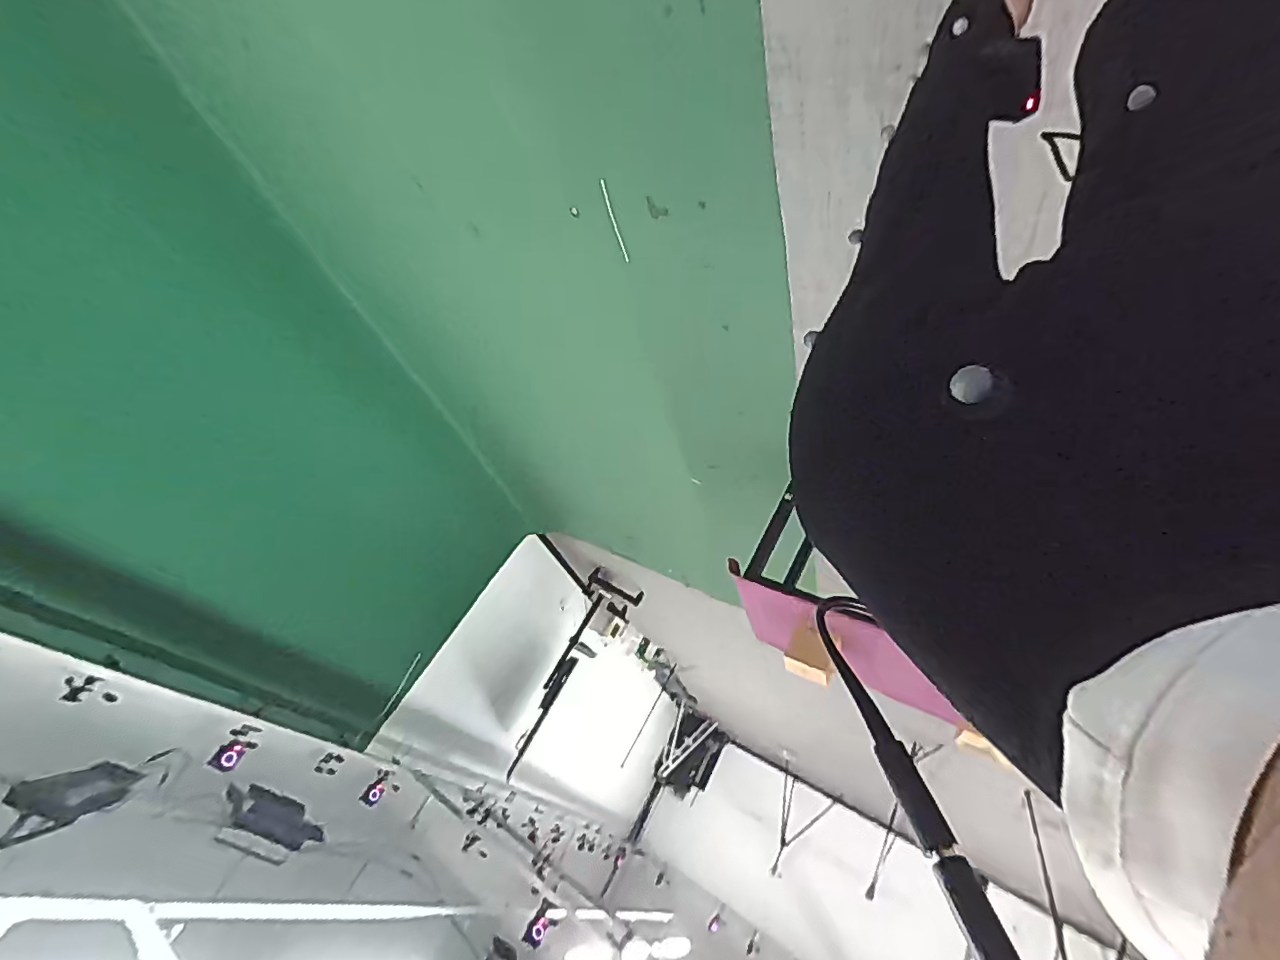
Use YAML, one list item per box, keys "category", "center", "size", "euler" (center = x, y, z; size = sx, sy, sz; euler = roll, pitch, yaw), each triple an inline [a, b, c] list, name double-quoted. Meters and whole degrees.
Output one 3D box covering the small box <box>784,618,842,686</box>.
- category: "small box"
  center: [0.674, 0.665, 2.094]
  size: [0.168, 0.176, 0.179]
  euler: [17, 151, 30]
